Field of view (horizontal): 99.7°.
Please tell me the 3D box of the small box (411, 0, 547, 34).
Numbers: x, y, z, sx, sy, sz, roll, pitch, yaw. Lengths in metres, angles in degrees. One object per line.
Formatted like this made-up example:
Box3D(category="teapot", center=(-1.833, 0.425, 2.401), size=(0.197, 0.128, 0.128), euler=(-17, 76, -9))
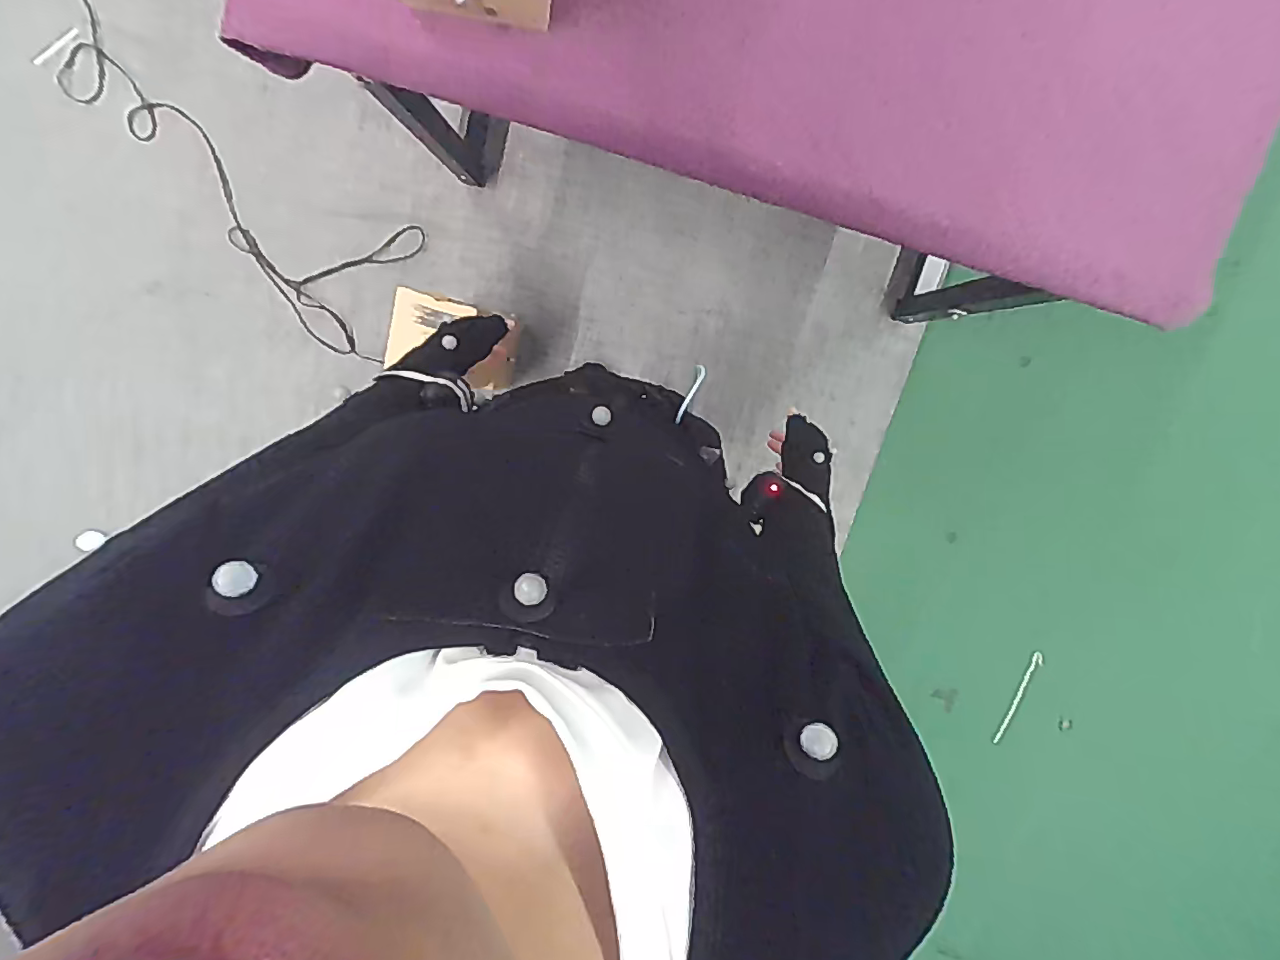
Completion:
Box3D(category="small box", center=(-0.175, -0.601, 0.532), size=(0.168, 0.176, 0.179), euler=(11, 101, -3))
